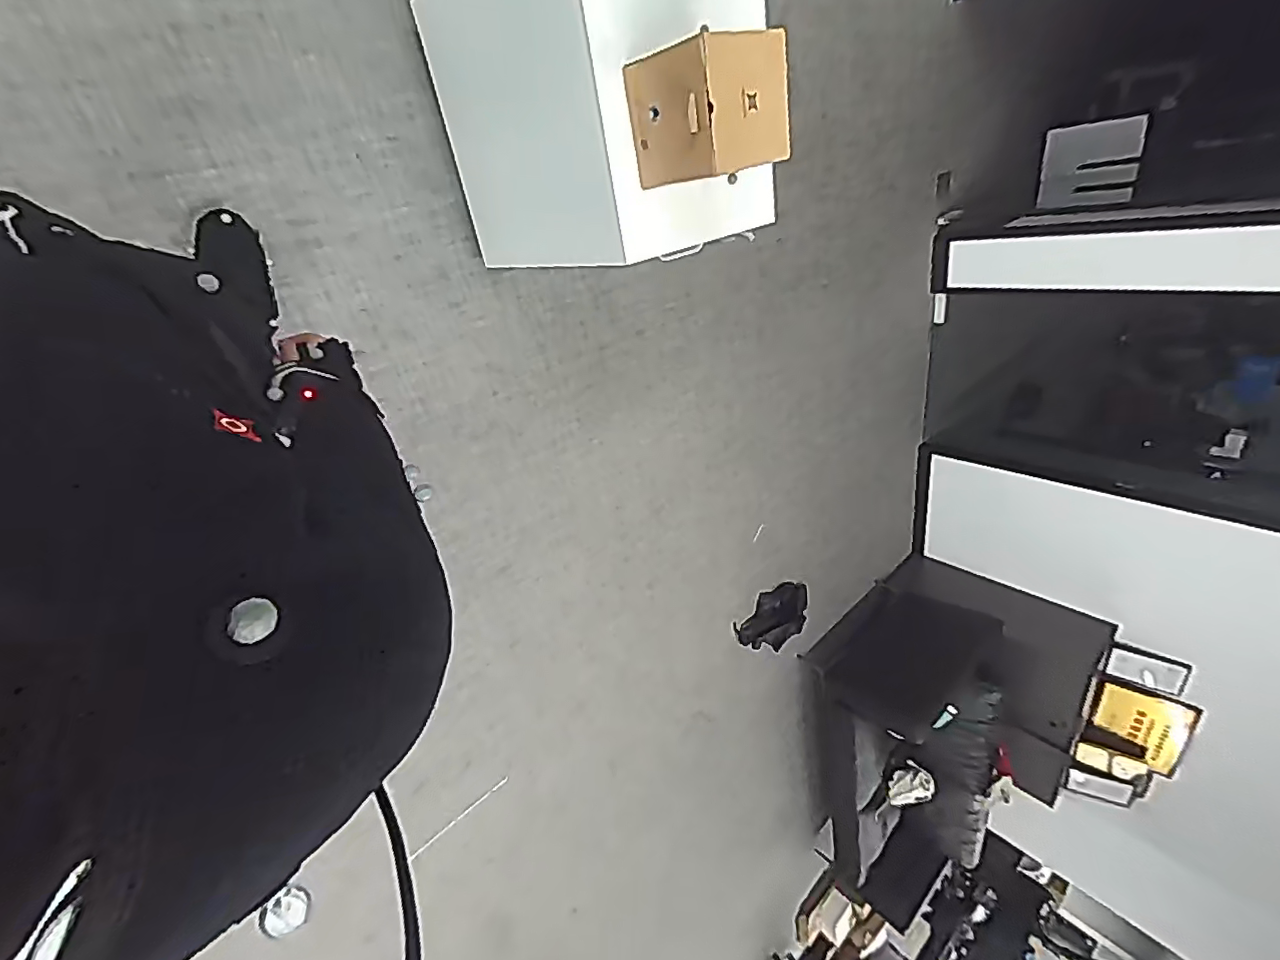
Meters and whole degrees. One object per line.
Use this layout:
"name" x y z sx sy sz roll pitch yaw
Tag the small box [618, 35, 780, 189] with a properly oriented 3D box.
"small box" 0.093 -0.559 0.832 0.179 0.176 0.168 -31 125 -29
